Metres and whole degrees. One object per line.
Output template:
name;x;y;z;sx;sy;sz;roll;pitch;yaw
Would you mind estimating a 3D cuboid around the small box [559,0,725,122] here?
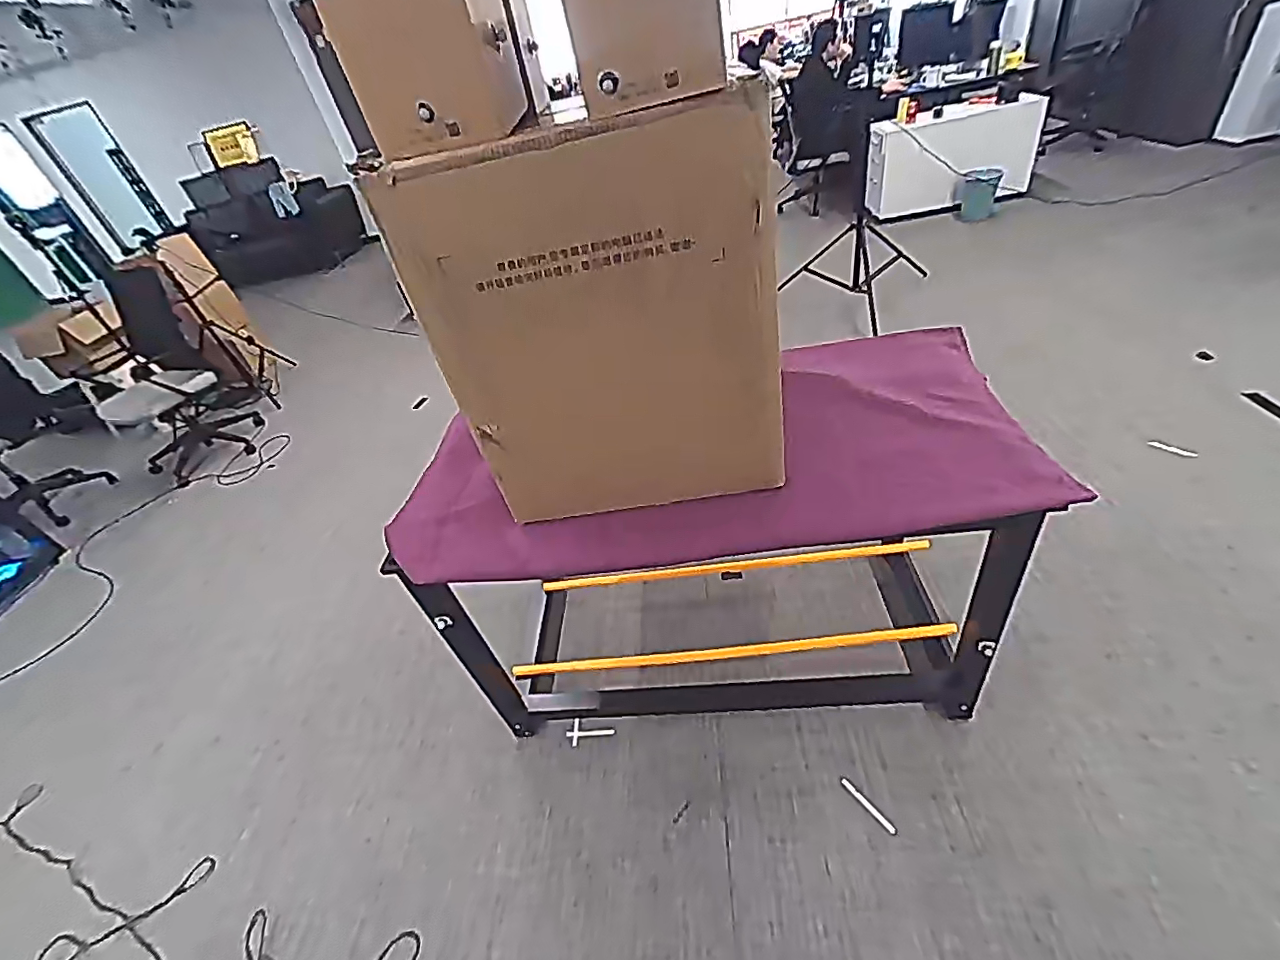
small box;0.004;-0.540;0.633;0.168;0.176;0.179;-8;41;9
